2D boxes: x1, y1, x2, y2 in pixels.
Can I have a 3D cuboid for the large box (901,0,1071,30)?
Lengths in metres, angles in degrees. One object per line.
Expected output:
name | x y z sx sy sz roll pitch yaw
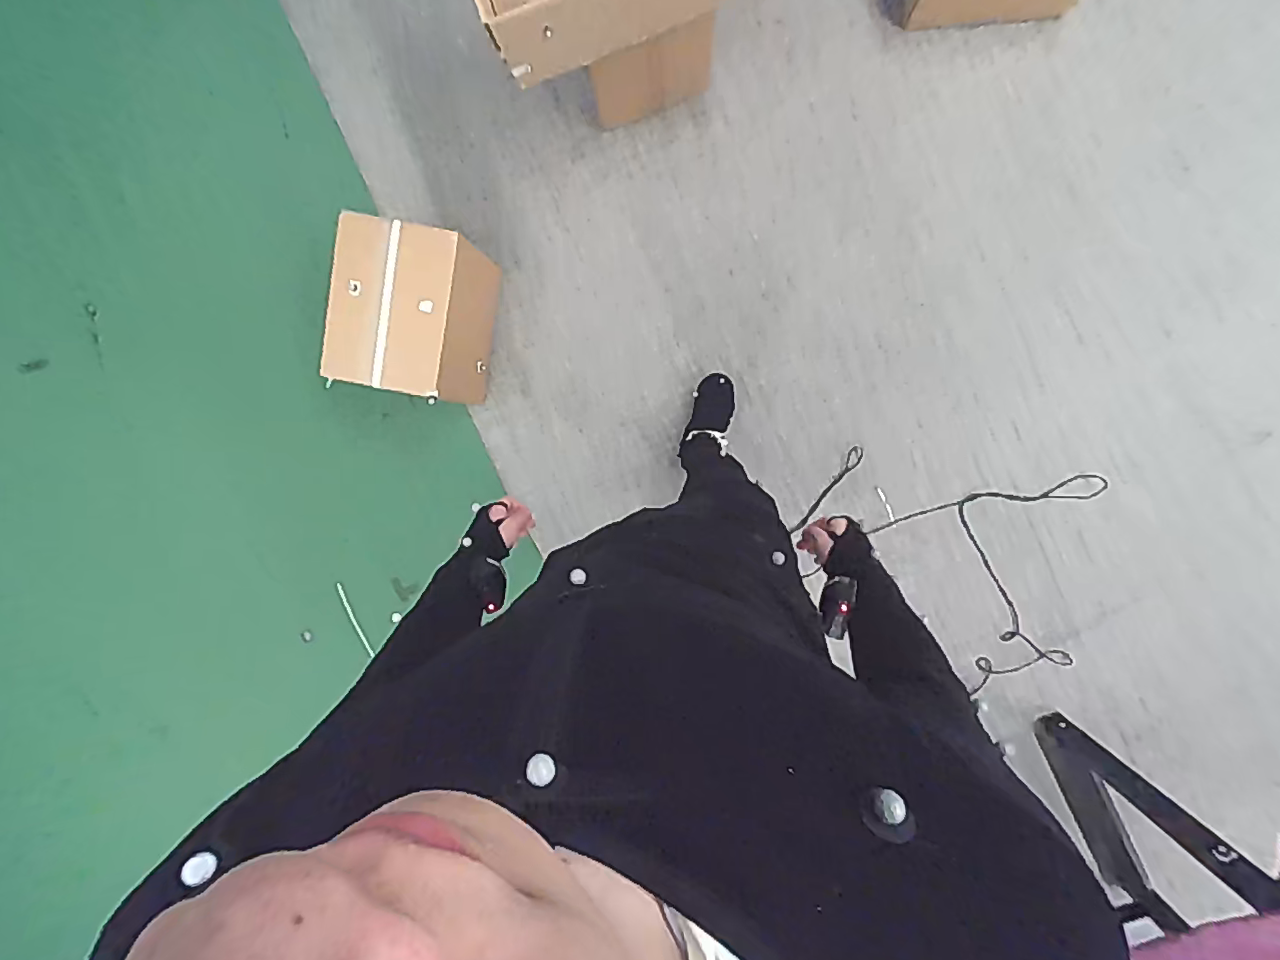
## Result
large box | 0.872 -1.330 1.252 0.408 0.320 0.320 -1 95 6
